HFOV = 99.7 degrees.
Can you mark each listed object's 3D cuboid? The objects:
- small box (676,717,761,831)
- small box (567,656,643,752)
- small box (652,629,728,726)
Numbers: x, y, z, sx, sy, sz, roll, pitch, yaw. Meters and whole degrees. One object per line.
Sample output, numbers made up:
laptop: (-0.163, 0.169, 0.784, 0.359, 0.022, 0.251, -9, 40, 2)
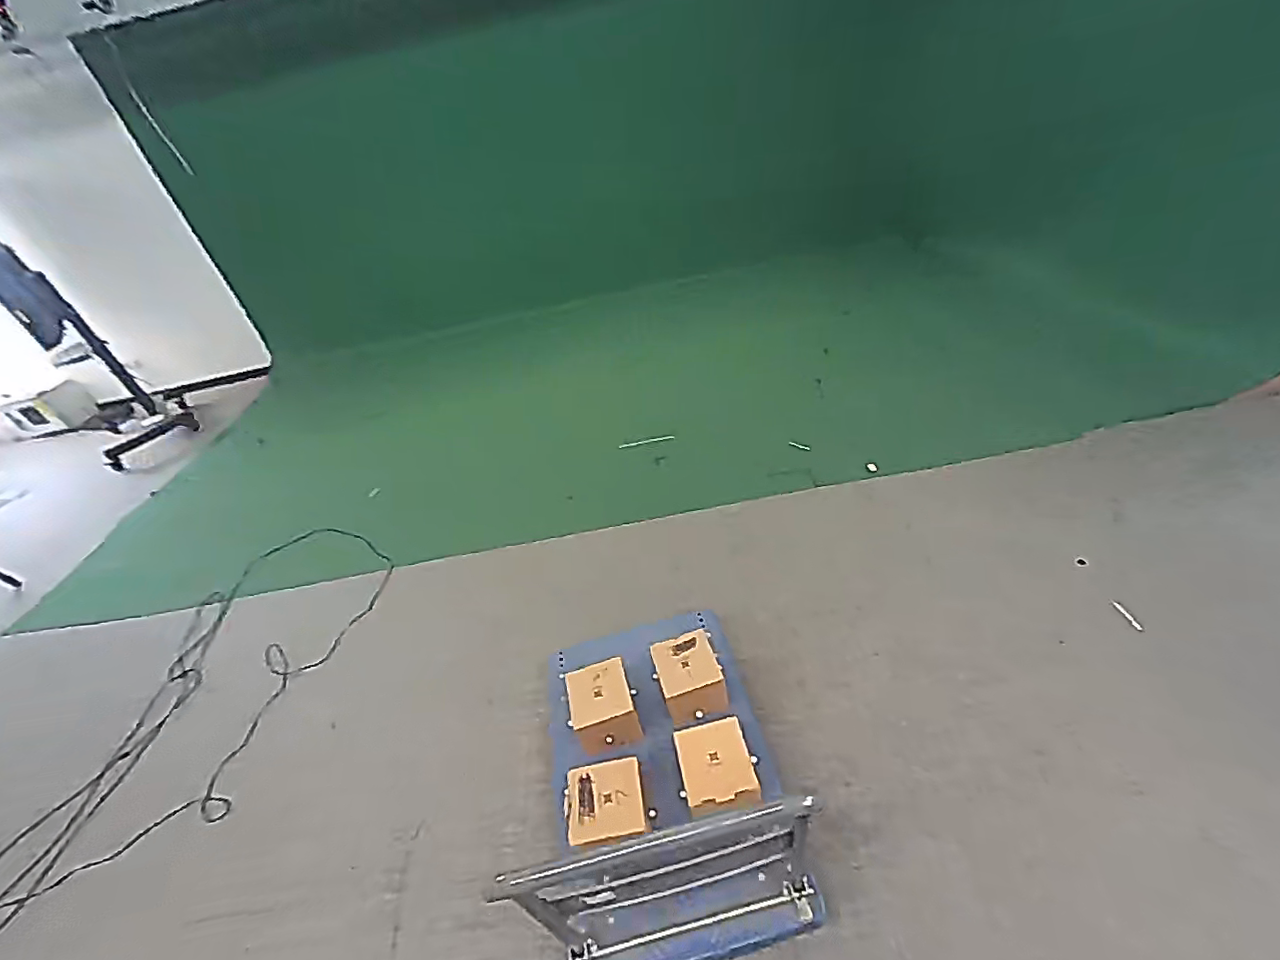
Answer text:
small box: (0.192, 0.723, 1.330, 0.168, 0.176, 0.179, -14, 38, -1)
small box: (-0.097, 0.637, 1.521, 0.168, 0.176, 0.179, -16, 37, -5)
small box: (0.143, 0.564, 1.543, 0.168, 0.176, 0.179, -17, 39, -4)
